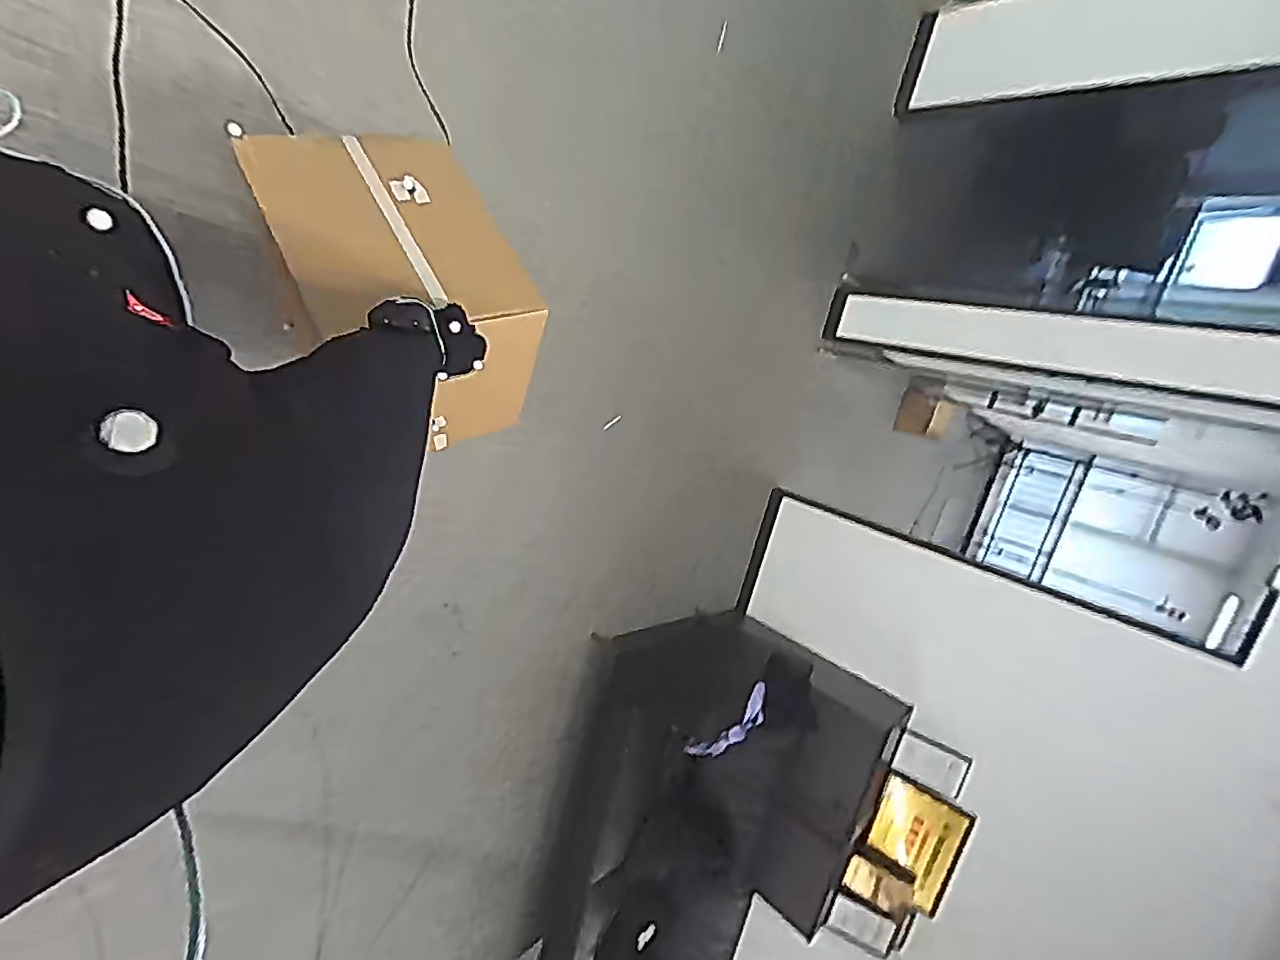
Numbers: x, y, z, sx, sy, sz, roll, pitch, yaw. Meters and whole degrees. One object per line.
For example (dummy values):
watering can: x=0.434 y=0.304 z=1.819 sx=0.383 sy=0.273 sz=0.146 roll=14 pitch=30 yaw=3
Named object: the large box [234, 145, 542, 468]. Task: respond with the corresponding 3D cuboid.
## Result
large box: x=-0.416 y=-0.295 z=0.927 sx=0.320 sy=0.408 sz=0.320 roll=-21 pitch=160 yaw=-32
